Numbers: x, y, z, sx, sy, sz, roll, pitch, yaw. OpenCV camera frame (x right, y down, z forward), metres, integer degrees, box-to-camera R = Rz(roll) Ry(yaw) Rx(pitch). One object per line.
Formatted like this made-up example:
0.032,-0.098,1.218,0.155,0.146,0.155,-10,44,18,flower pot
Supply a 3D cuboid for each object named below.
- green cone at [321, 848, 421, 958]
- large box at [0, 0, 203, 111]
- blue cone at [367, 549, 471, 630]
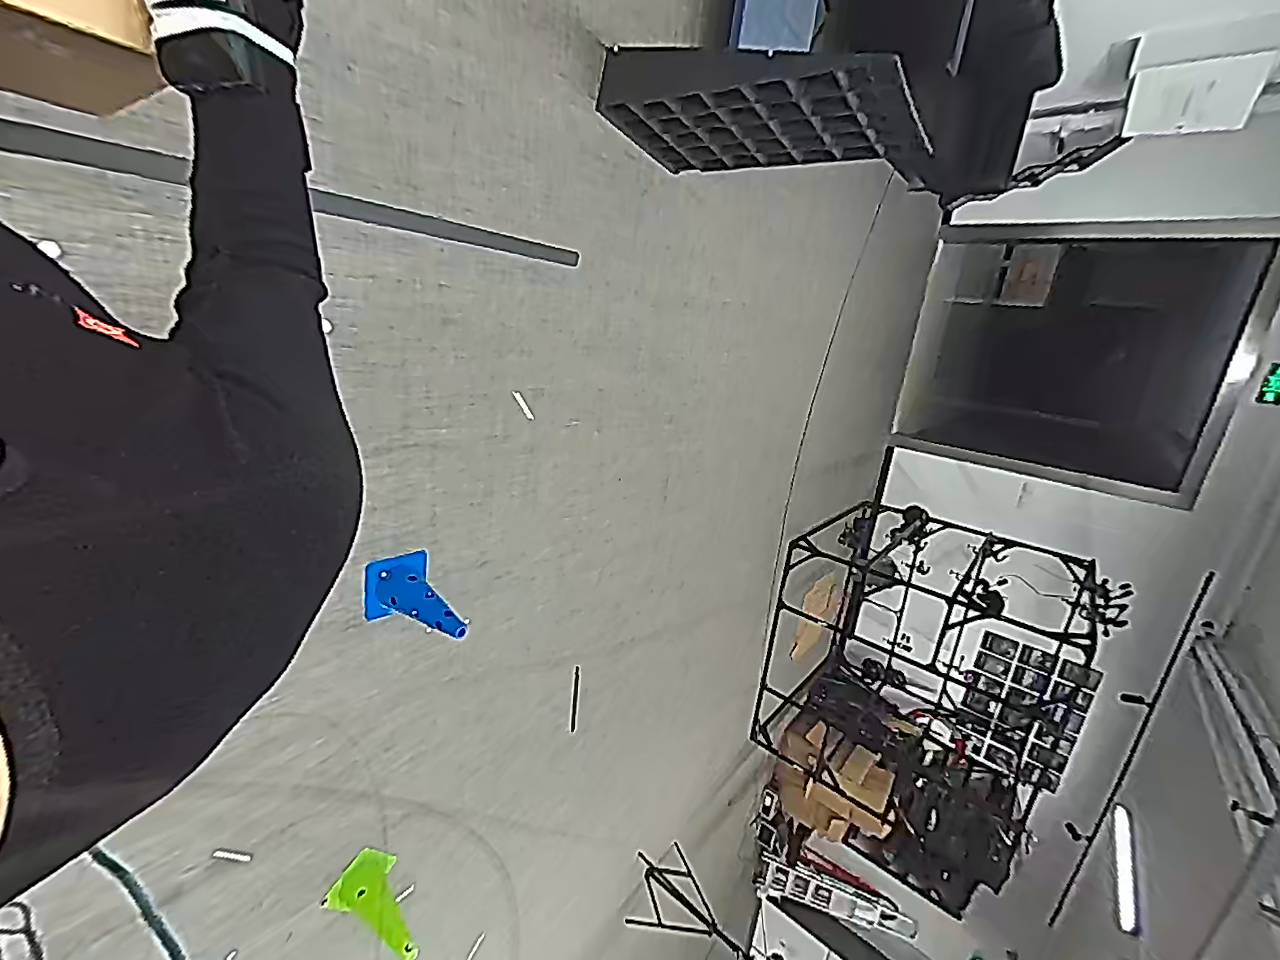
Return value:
-0.859,1.461,1.817,0.202,0.368,0.200,-52,141,-27,green cone
-0.532,-0.447,0.271,0.408,0.320,0.320,-14,117,-52,large box
-0.648,0.364,1.633,0.192,0.380,0.193,-10,113,-53,blue cone
